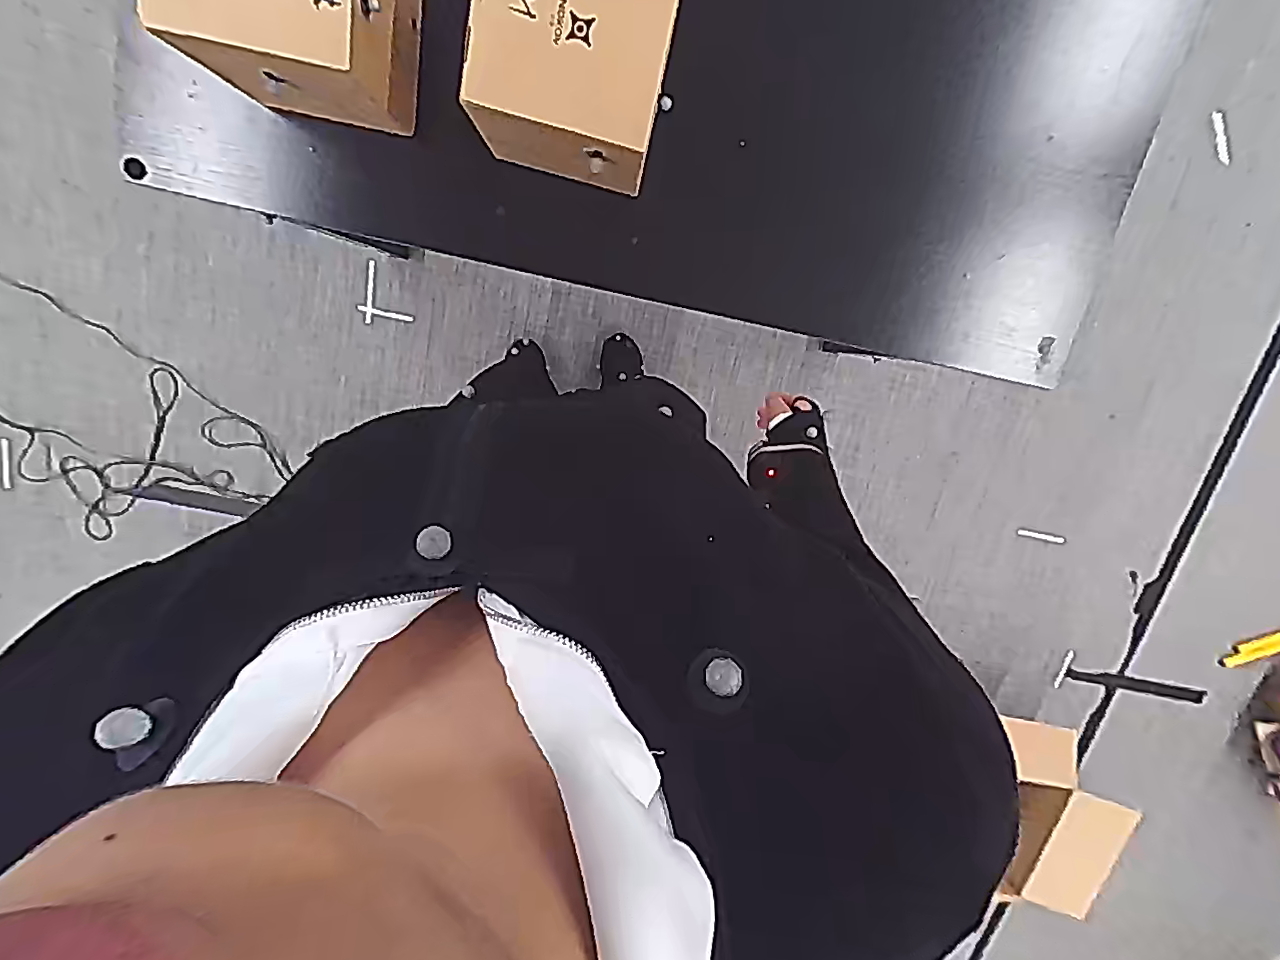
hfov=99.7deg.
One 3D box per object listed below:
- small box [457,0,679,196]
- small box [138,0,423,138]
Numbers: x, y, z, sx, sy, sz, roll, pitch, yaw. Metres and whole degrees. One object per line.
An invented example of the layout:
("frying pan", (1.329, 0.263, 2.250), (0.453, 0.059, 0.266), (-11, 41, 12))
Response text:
("small box", (-0.069, -0.416, 0.560), (0.179, 0.176, 0.168), (12, 103, -6))
("small box", (-0.335, -0.467, 0.532), (0.179, 0.176, 0.168), (9, 104, -5))
